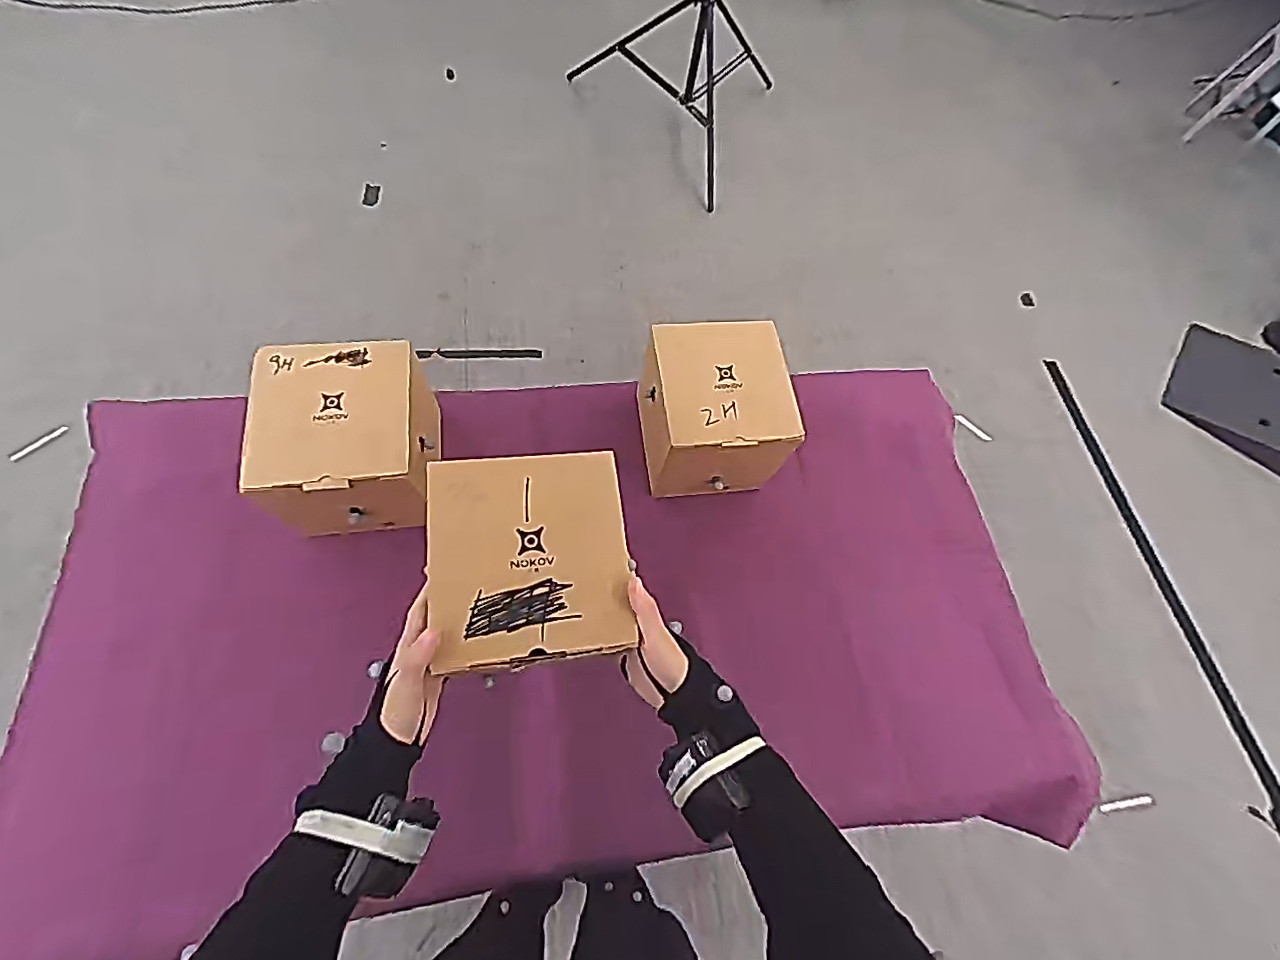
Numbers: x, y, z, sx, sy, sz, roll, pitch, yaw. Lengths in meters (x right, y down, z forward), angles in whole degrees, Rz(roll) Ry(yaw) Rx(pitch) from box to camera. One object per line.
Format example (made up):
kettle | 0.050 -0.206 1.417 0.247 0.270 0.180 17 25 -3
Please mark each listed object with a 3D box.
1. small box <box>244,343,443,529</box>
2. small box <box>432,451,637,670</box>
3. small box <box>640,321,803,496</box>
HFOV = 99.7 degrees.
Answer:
small box | -0.342 -0.044 0.662 0.168 0.176 0.179 -5 69 -10
small box | -0.103 0.087 0.532 0.168 0.176 0.179 -4 69 -12
small box | 0.097 -0.092 0.738 0.168 0.176 0.179 -5 68 -8
